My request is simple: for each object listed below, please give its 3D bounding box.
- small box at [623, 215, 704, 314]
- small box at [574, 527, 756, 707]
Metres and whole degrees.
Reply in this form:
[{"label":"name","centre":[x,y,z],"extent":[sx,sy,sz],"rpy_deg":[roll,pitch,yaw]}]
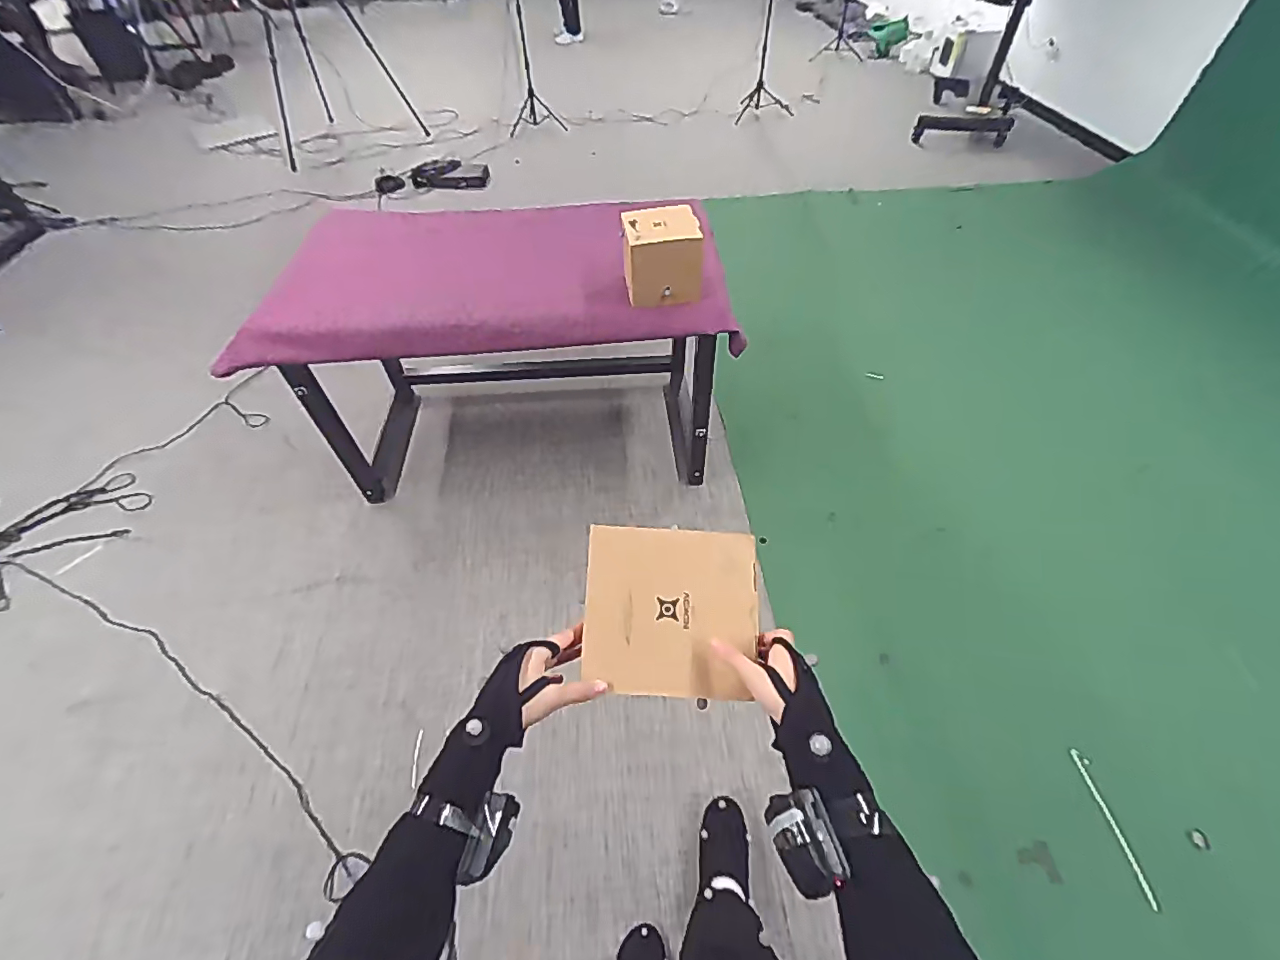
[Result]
[{"label":"small box","centre":[0.055,-0.535,1.352],"extent":[0.179,0.176,0.168],"rpy_deg":[-7,50,-3]},{"label":"small box","centre":[0.024,0.157,0.614],"extent":[0.179,0.176,0.168],"rpy_deg":[4,71,-1]}]
